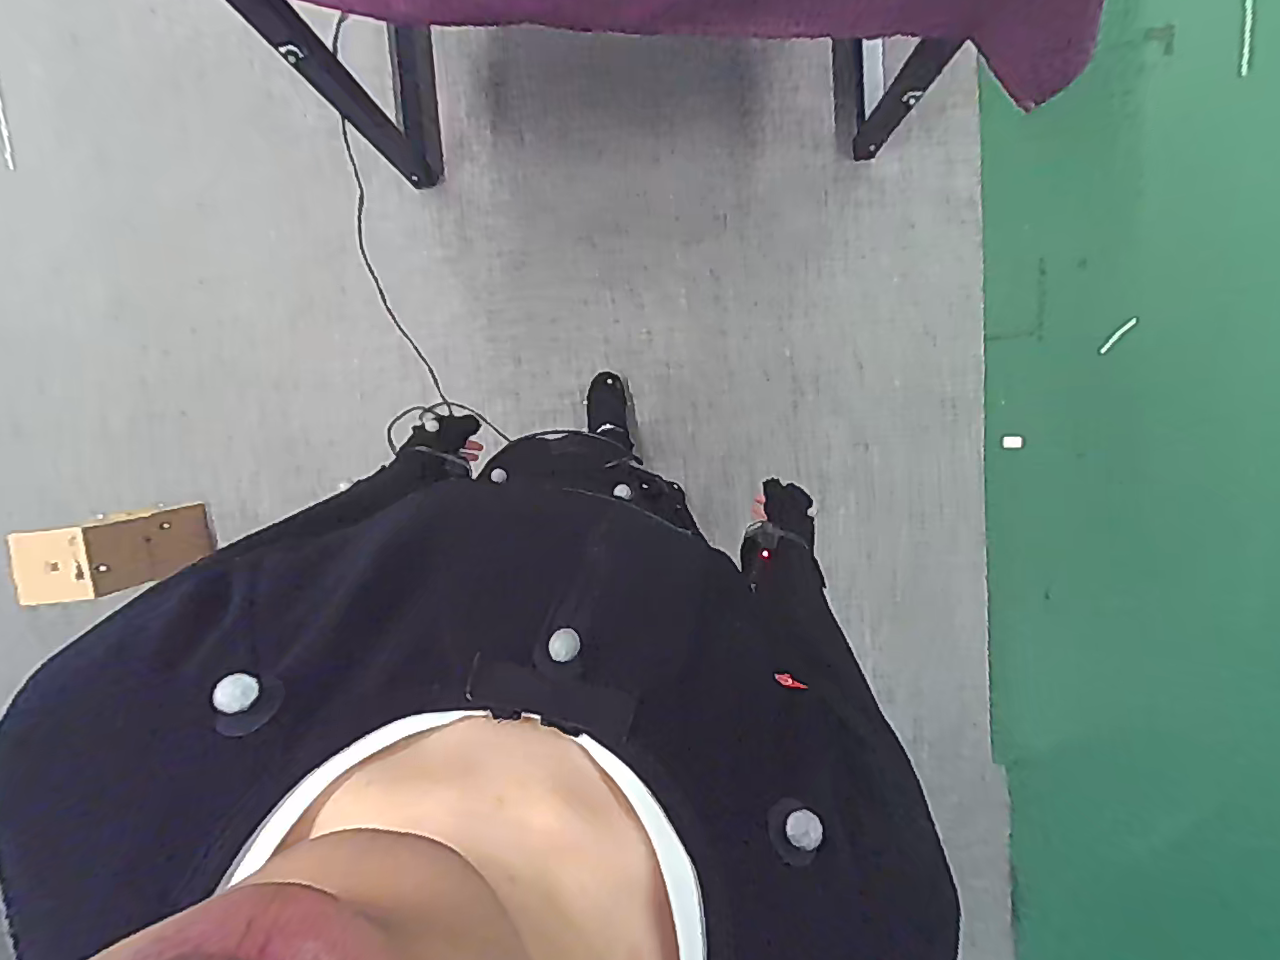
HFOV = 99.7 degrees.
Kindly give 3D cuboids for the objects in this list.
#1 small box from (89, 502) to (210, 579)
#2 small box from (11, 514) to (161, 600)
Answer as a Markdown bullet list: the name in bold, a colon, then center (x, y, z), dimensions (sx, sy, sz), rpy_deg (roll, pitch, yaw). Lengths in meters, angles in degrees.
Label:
- **small box**: center (-1.290, 0.160, 1.437), dimensions (0.168, 0.176, 0.179), rpy_deg (-5, 95, 2)
- **small box**: center (-1.293, 0.176, 1.273), dimensions (0.179, 0.176, 0.168), rpy_deg (-4, 95, 3)
